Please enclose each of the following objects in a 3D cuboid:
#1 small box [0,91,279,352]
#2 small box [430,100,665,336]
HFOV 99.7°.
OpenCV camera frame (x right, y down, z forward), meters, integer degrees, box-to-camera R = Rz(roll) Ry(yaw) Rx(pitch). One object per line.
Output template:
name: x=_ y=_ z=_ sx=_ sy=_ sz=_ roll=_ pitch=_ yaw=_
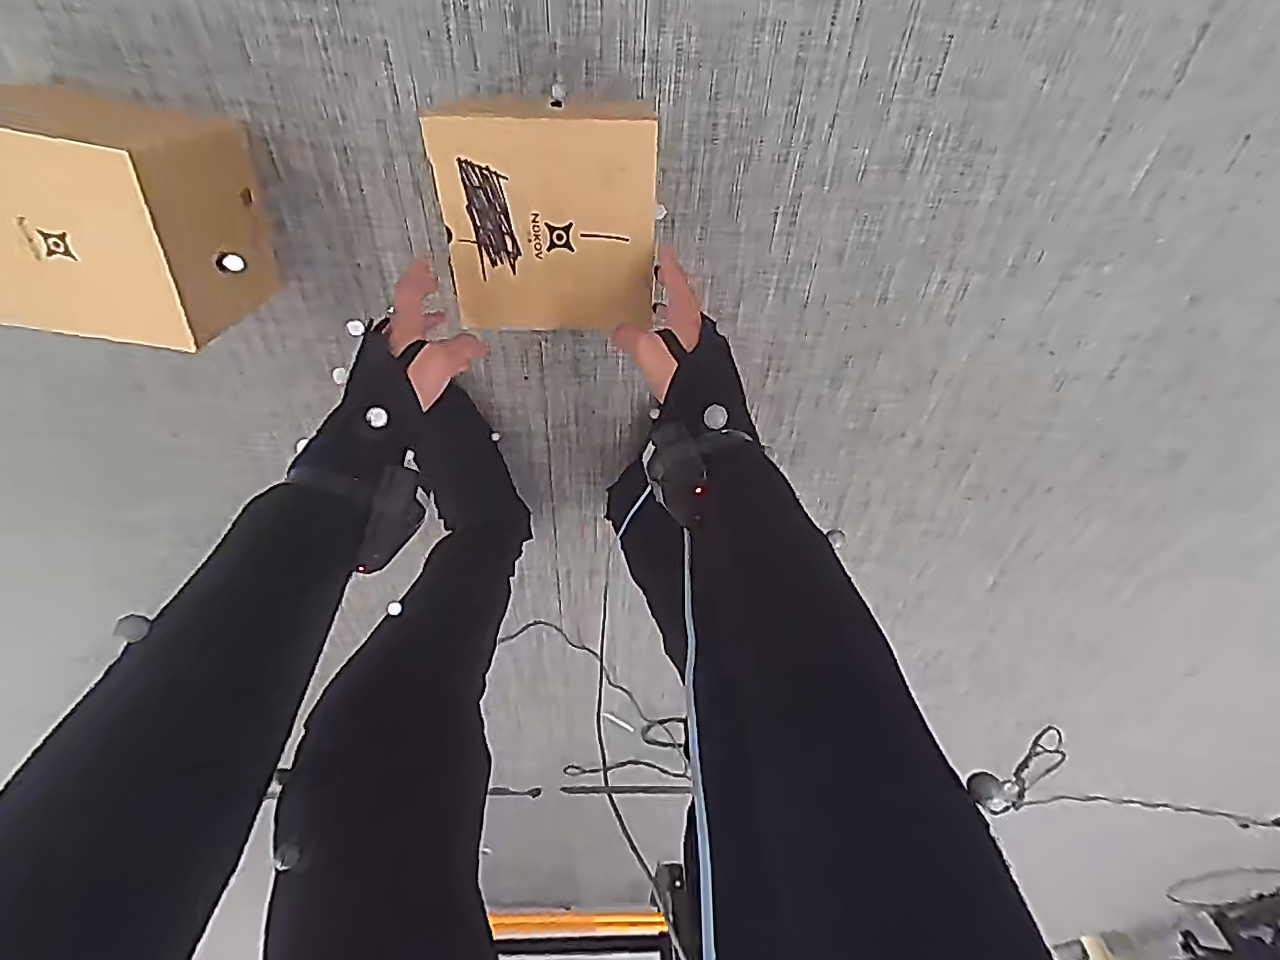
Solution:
small box: x=-0.469 y=-0.242 z=0.501 sx=0.179 sy=0.176 sz=0.168 roll=8 pitch=129 yaw=-7
small box: x=-0.073 y=-0.248 z=0.508 sx=0.179 sy=0.176 sz=0.168 roll=0 pitch=130 yaw=-3
